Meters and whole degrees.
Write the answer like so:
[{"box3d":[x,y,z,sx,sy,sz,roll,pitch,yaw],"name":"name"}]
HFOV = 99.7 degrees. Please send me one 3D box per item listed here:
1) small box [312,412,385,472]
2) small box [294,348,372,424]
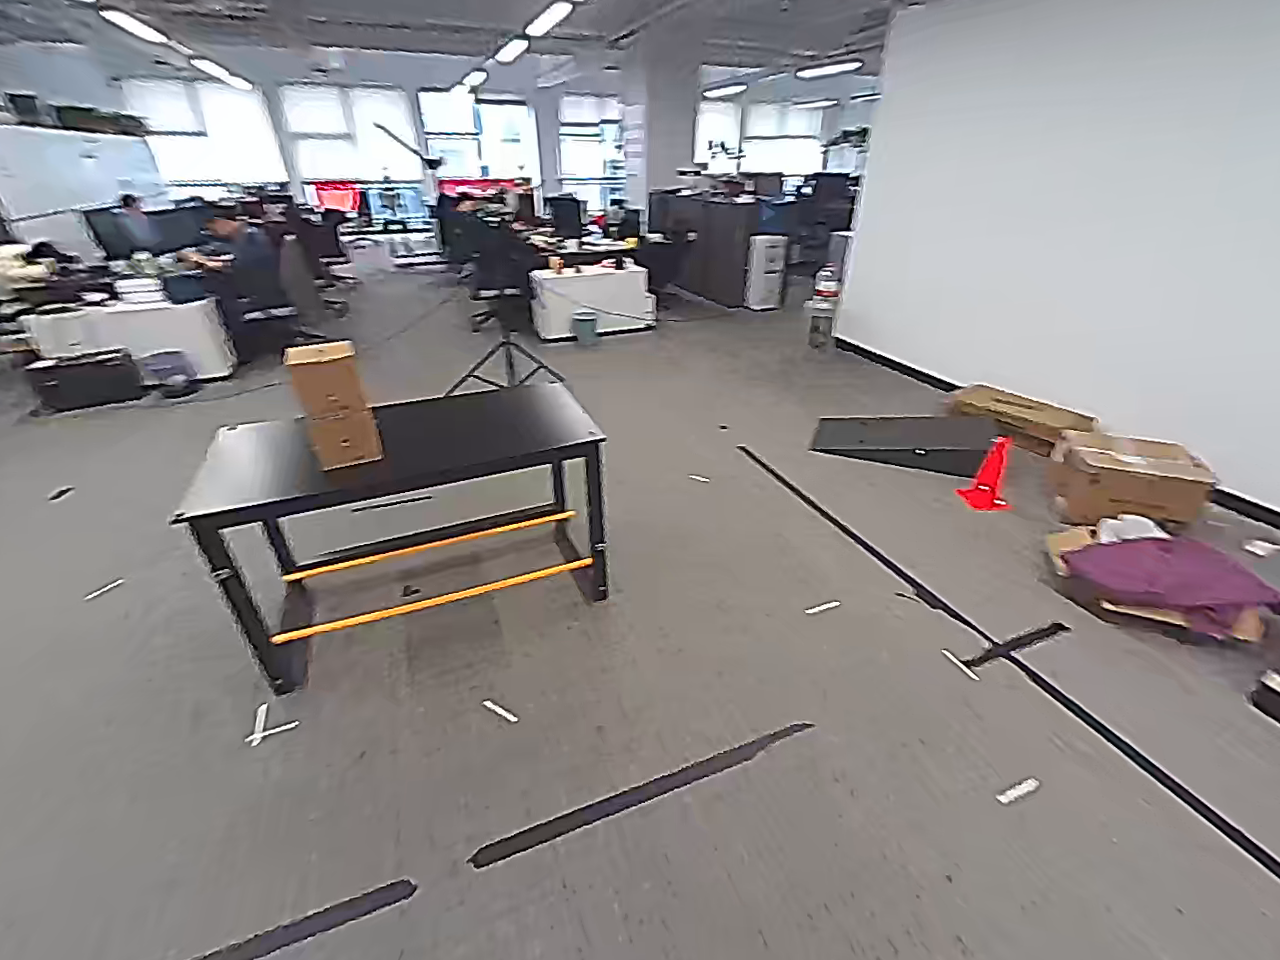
[{"box3d":[-0.914,-0.138,1.701,0.168,0.176,0.179,-15,34,-23],"name":"small box"},{"box3d":[-0.917,-0.283,1.620,0.168,0.176,0.179,-16,34,-24],"name":"small box"}]
